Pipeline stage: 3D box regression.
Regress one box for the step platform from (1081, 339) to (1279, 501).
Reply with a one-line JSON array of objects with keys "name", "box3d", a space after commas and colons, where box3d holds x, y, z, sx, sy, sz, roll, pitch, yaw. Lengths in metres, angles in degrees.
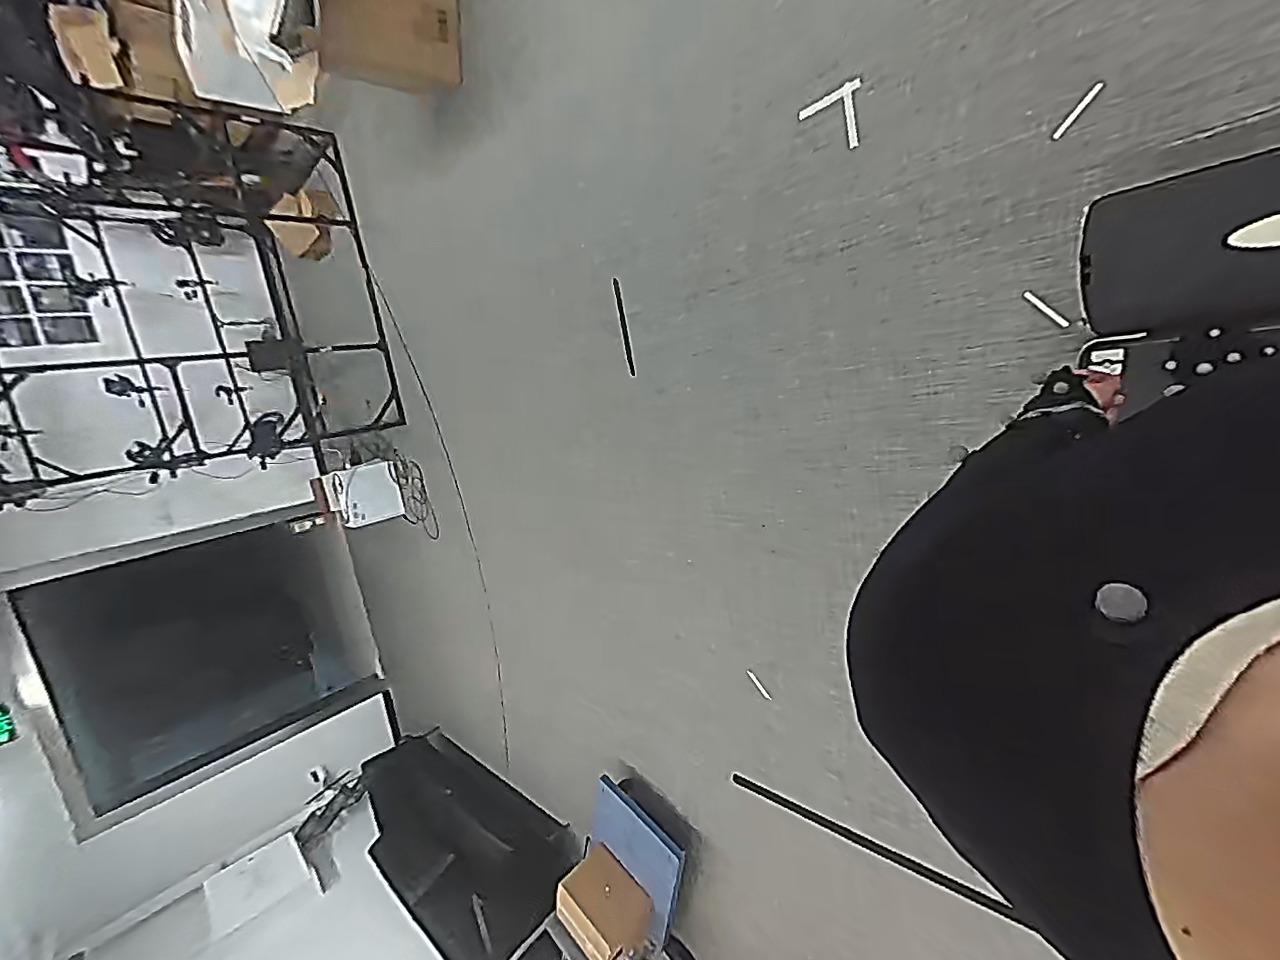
[{"name": "step platform", "box3d": [1.195, -0.107, 0.924, 0.684, 0.204, 0.286, 8, 108, 47]}]
